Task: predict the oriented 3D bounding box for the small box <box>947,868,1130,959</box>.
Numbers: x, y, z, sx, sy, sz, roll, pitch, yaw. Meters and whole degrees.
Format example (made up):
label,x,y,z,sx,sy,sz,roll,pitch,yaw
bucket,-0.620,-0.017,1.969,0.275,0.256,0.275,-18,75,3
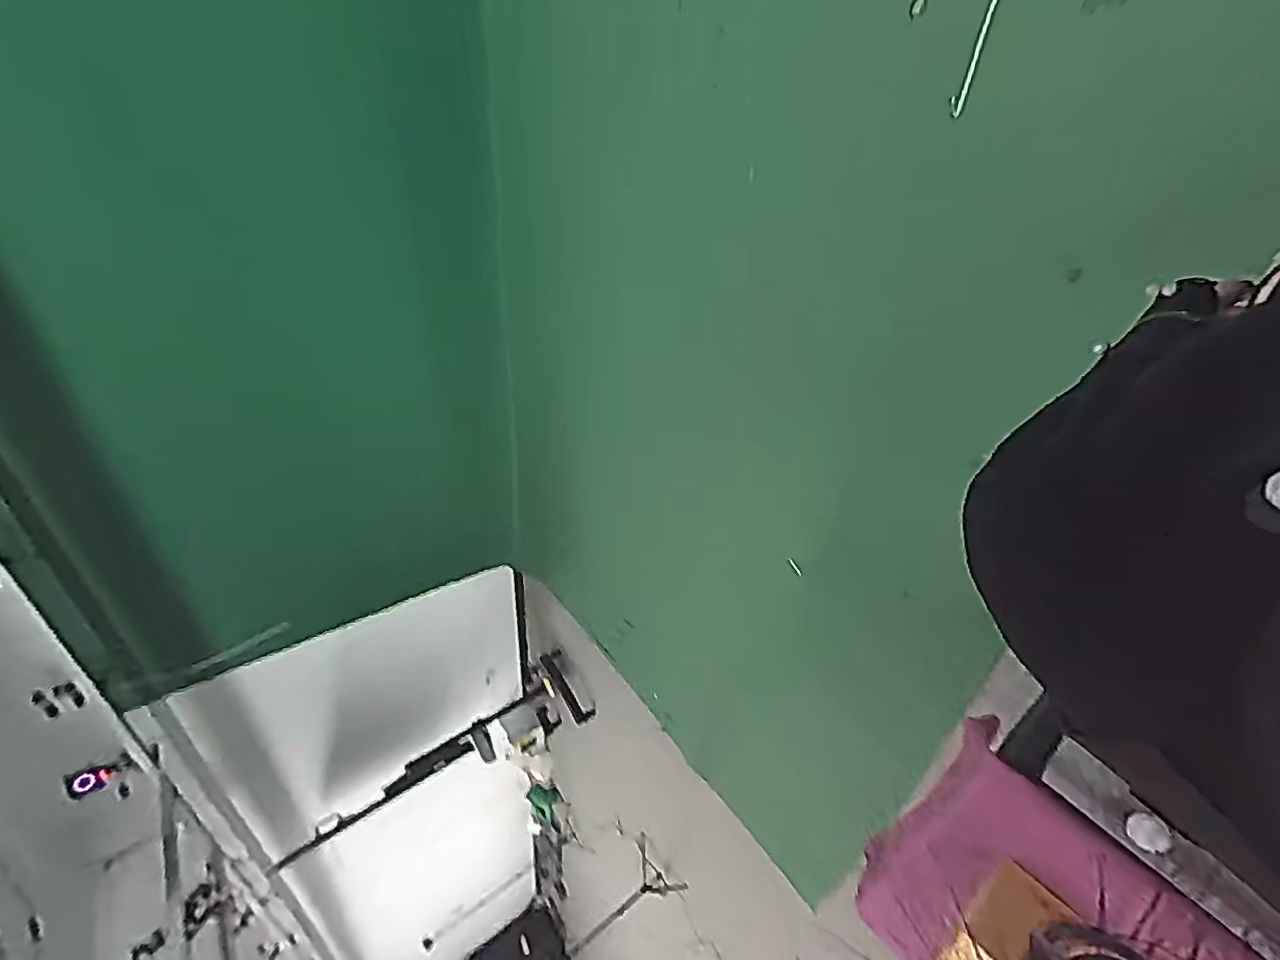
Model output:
label,x,y,z,sx,sy,sz,roll,pitch,yaw
small box,0.602,0.755,0.828,0.168,0.176,0.179,35,135,40
